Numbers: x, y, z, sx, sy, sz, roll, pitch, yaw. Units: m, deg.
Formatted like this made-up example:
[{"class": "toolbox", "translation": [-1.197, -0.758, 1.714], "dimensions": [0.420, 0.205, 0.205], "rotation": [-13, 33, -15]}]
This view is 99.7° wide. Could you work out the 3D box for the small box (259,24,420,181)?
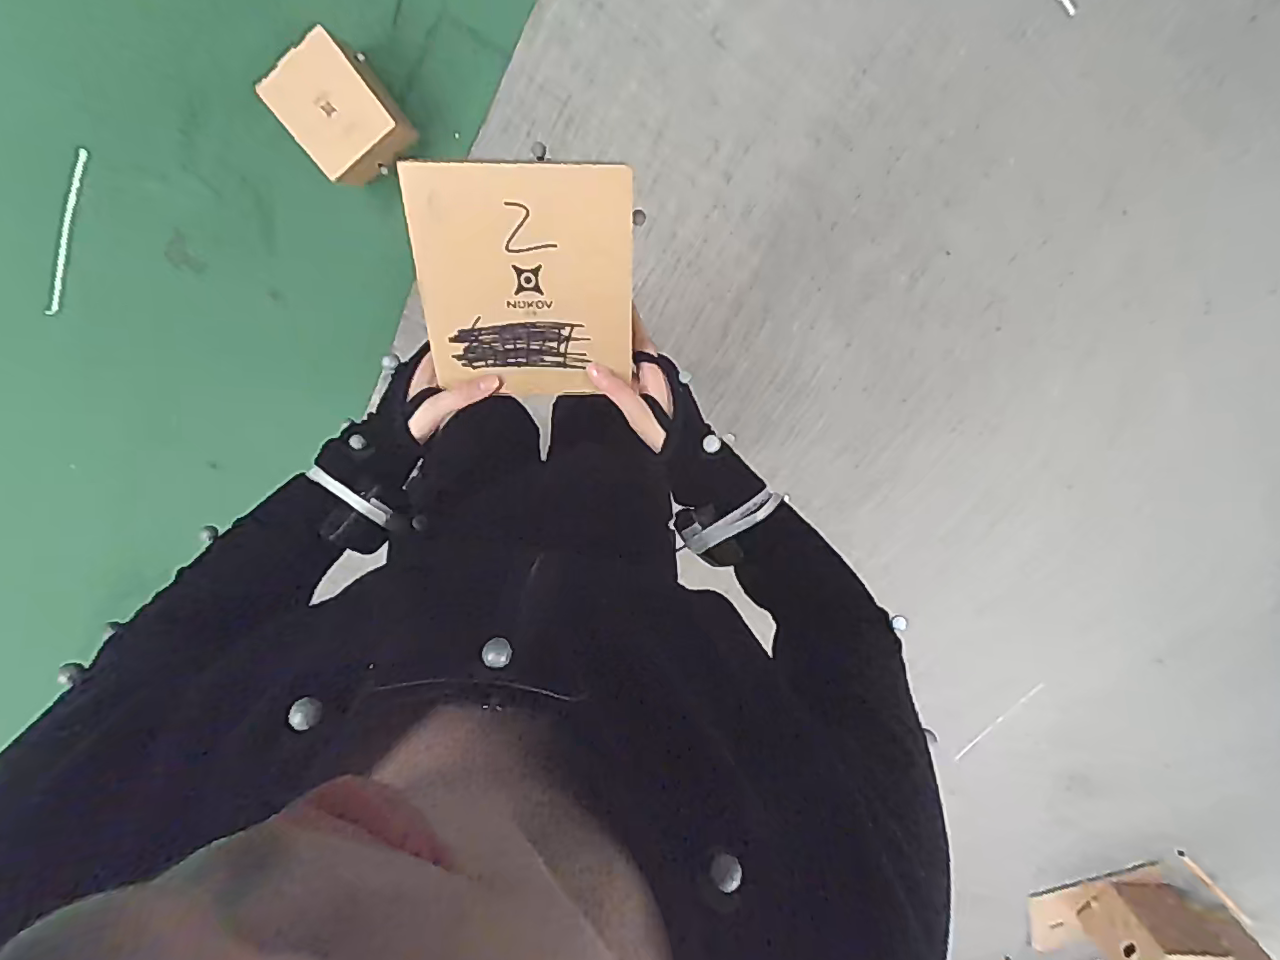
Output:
[{"class": "small box", "translation": [-0.556, -0.699, 1.028], "dimensions": [0.168, 0.176, 0.179], "rotation": [-32, 115, 11]}]
